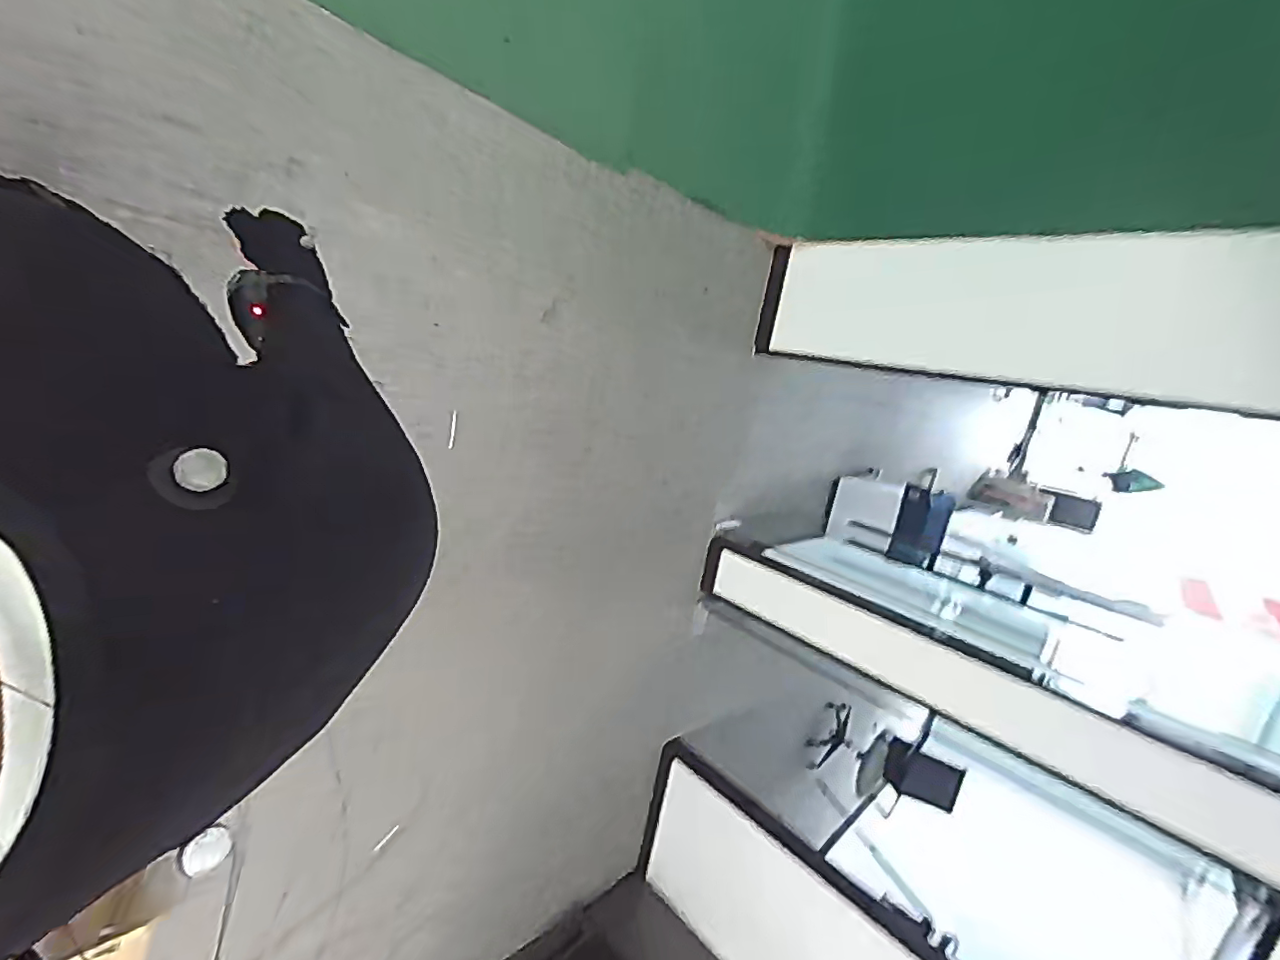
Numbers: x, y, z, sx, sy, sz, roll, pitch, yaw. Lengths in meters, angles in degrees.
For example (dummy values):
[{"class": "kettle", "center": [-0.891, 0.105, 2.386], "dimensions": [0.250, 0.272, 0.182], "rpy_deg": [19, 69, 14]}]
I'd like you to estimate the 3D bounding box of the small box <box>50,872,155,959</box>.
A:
[{"class": "small box", "center": [-1.240, 1.072, 1.251], "dimensions": [0.168, 0.176, 0.179], "rpy_deg": [-1, 107, -45]}]
